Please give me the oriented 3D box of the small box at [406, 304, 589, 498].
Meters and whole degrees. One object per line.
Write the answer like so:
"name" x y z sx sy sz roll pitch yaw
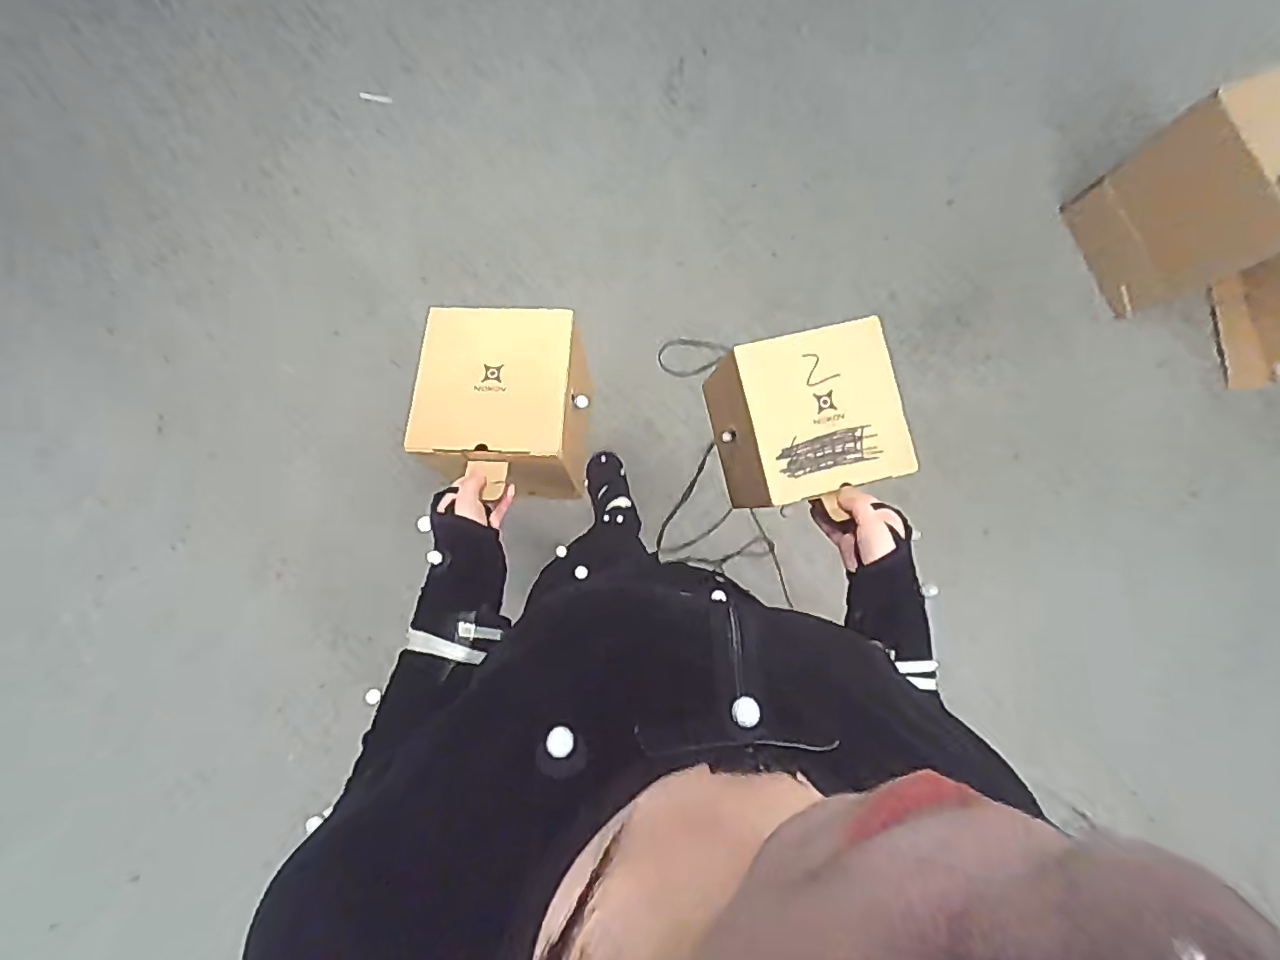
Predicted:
"small box" -0.156 -0.088 0.656 0.168 0.176 0.179 2 73 2
